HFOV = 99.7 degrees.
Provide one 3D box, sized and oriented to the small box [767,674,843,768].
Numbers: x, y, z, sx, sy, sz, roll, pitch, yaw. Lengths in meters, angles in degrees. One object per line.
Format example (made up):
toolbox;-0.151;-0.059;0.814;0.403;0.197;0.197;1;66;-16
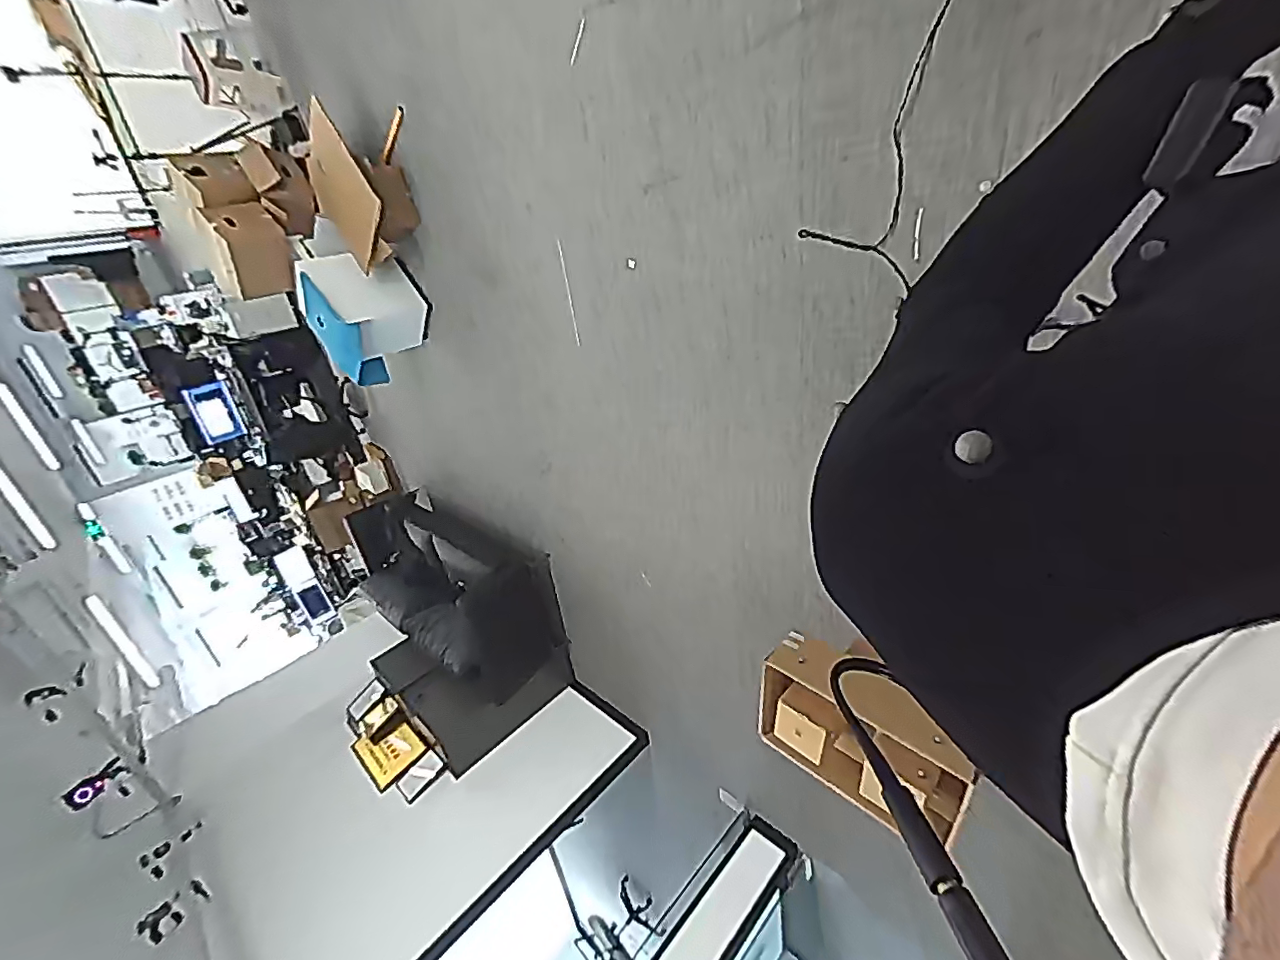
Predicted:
small box;0.532;0.771;1.743;0.168;0.176;0.179;25;129;38
